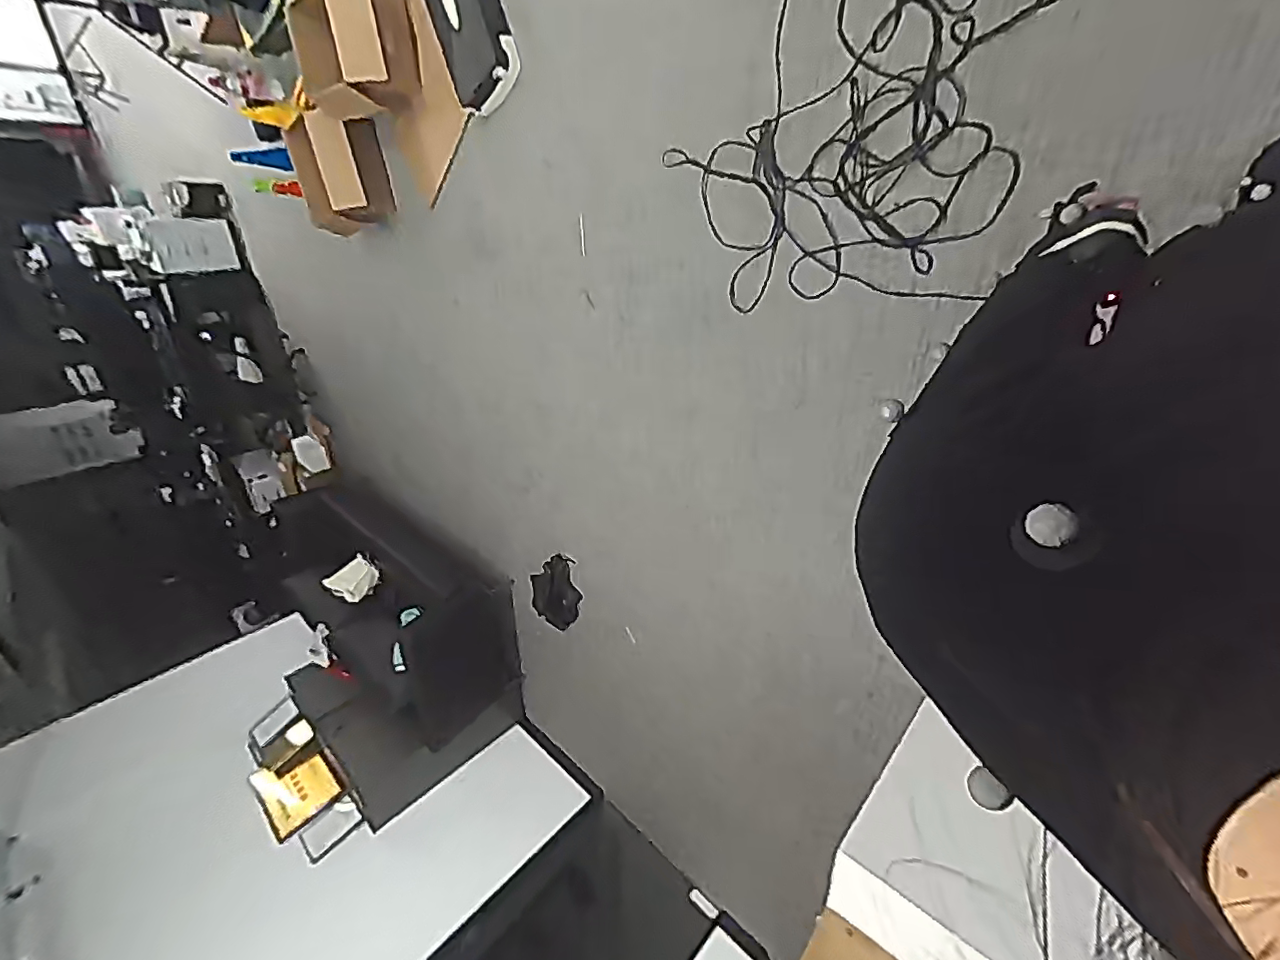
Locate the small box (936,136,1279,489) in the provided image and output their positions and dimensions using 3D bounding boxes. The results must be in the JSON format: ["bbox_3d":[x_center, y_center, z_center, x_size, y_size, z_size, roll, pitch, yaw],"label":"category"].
[{"bbox_3d":[0.364,-0.102,0.417,0.168,0.176,0.179,-35,69,31],"label":"small box"}]
